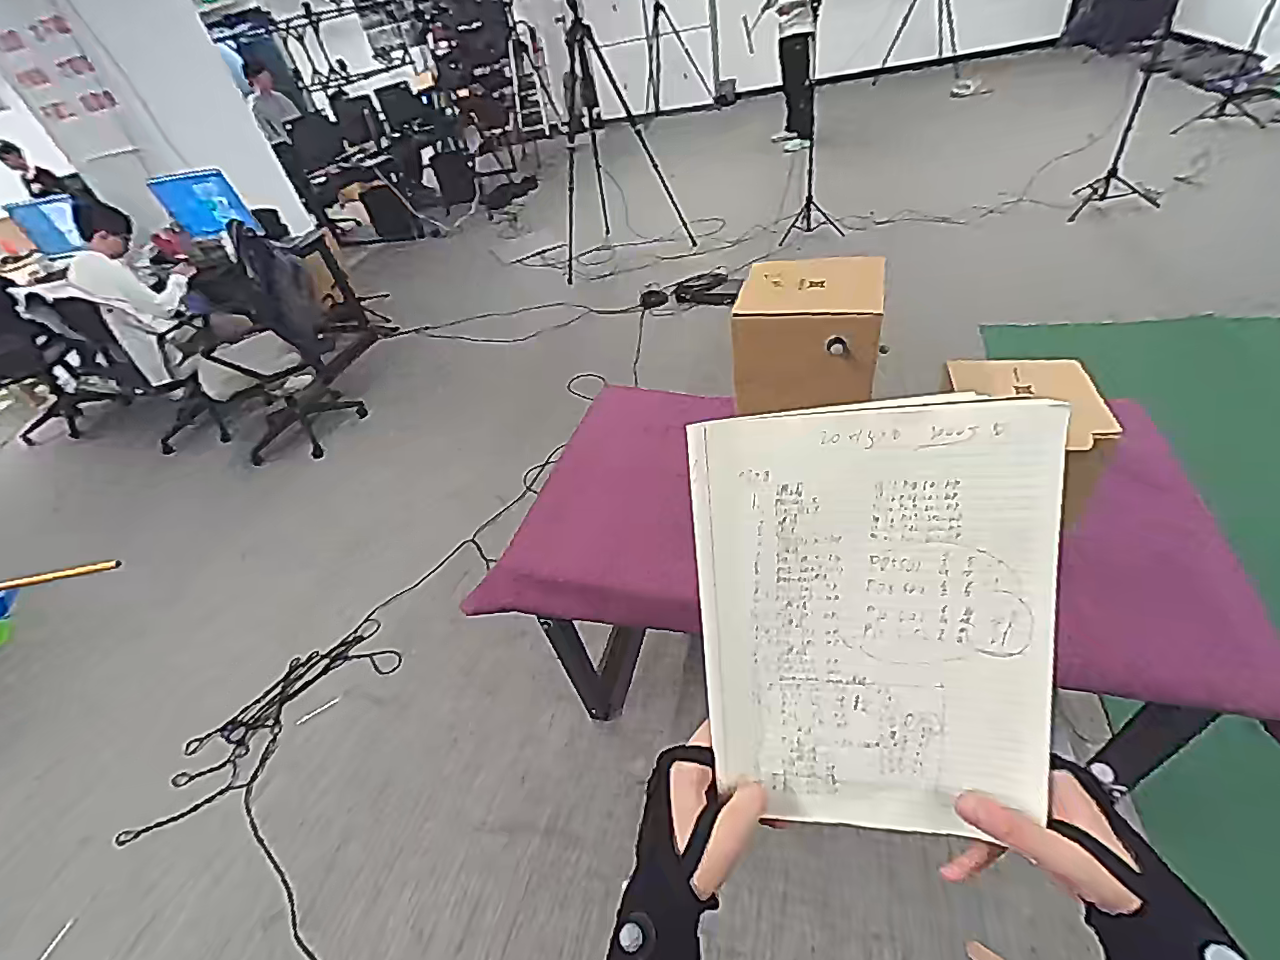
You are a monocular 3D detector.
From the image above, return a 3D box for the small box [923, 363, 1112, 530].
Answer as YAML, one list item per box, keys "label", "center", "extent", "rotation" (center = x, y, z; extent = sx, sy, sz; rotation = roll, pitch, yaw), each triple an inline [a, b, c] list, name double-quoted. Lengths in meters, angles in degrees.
- label: "small box"
  center: [0.511, -0.048, 0.765]
  extent: [0.168, 0.176, 0.179]
  rotation: [4, 42, 17]

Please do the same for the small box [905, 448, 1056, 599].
- label: "small box"
  center: [0.534, 0.070, 0.876]
  extent: [0.168, 0.176, 0.179]
  rotation: [5, 43, 18]

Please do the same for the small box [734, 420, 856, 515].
- label: "small box"
  center: [0.248, -0.064, 0.849]
  extent: [0.168, 0.176, 0.179]
  rotation: [4, 43, 19]

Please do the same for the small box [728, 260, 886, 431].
- label: "small box"
  center: [0.227, -0.181, 0.735]
  extent: [0.179, 0.176, 0.168]
  rotation: [6, 43, 21]
